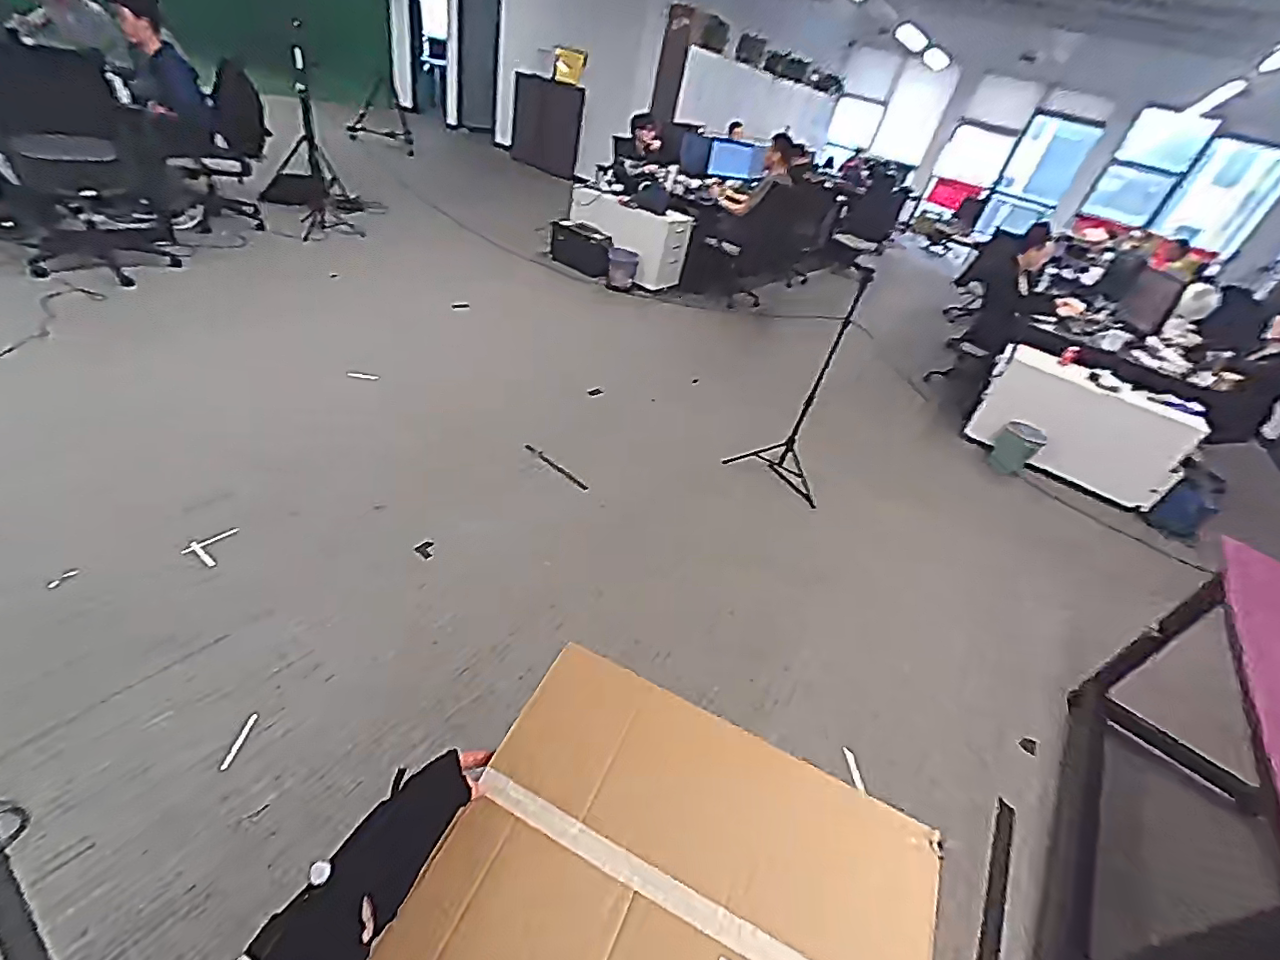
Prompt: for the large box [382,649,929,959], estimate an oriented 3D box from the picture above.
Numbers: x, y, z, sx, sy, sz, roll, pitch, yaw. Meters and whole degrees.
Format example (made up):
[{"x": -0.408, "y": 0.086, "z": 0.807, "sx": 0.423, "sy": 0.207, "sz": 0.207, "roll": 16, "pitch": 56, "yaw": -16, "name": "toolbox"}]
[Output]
[{"x": 0.021, "y": 0.457, "z": 0.576, "sx": 0.408, "sy": 0.320, "sz": 0.320, "roll": 23, "pitch": 49, "yaw": 14, "name": "large box"}]
